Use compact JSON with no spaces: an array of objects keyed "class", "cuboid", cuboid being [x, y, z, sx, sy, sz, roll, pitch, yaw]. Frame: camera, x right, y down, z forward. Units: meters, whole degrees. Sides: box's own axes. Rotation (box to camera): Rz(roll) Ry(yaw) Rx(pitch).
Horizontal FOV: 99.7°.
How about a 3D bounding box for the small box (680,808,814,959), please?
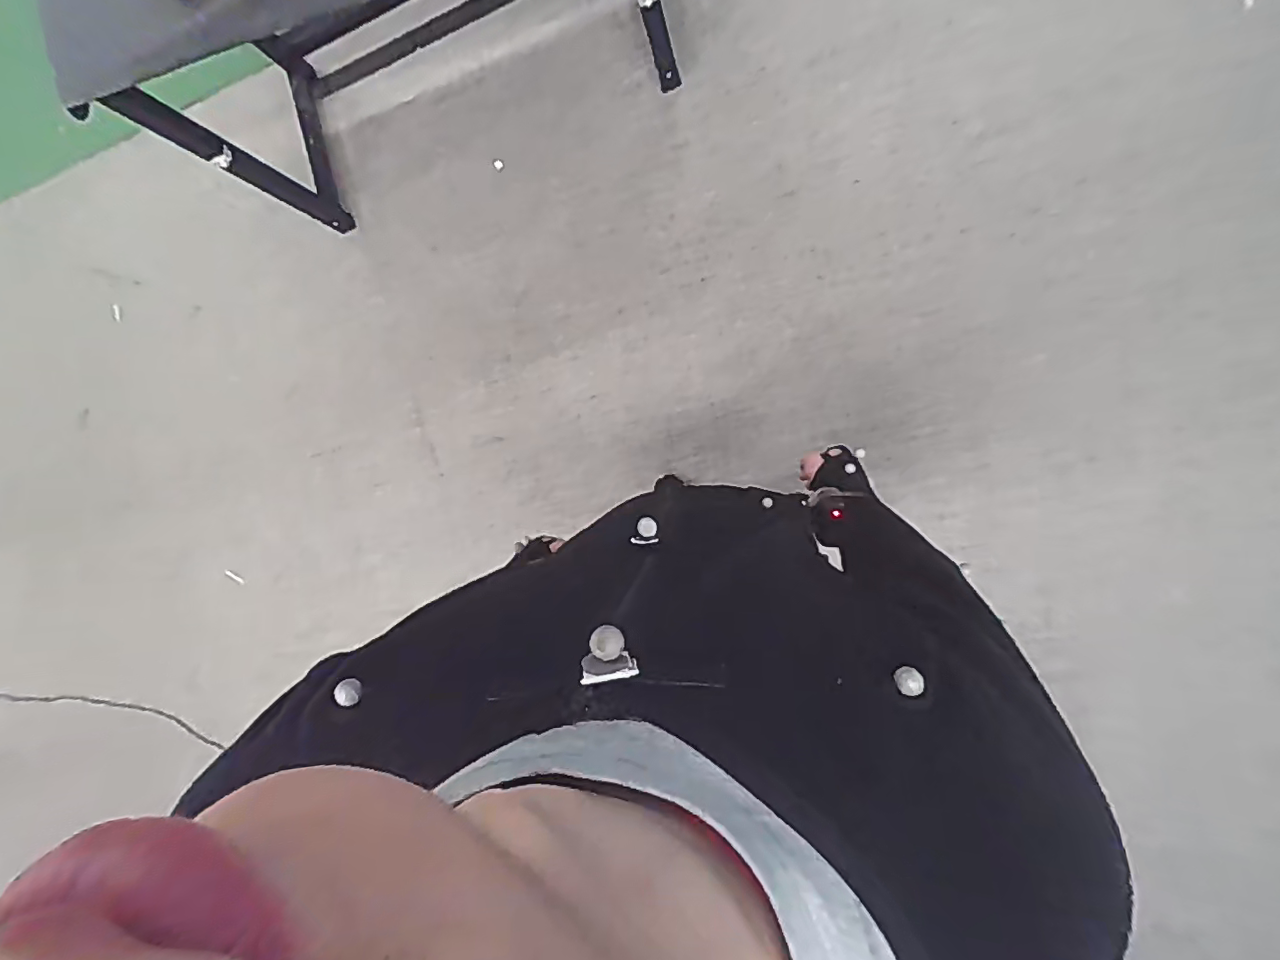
[{"class":"small box","cuboid":[0.175,0.670,0.867,0.168,0.176,0.179,-17,89,12]}]
